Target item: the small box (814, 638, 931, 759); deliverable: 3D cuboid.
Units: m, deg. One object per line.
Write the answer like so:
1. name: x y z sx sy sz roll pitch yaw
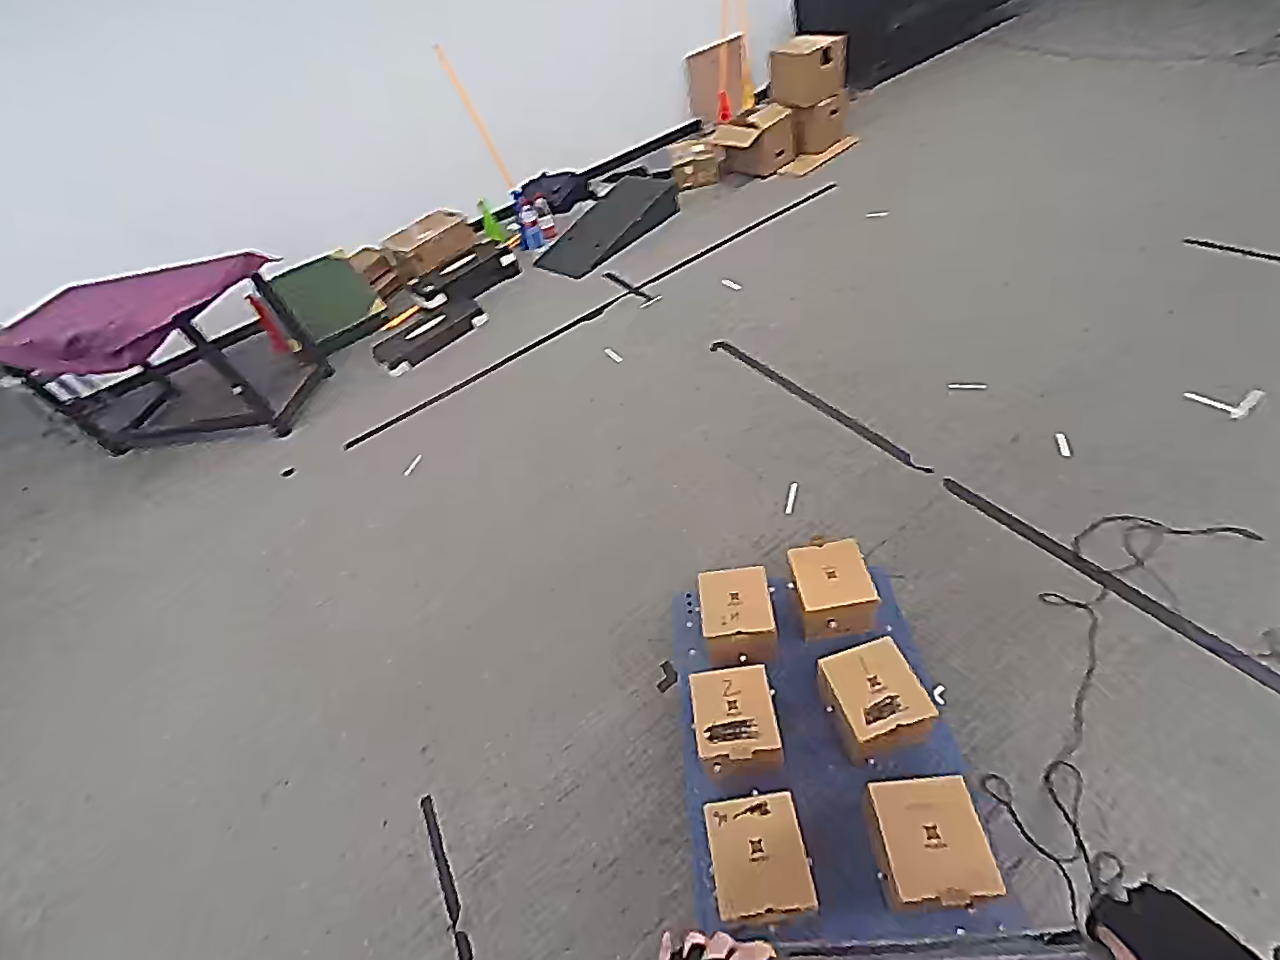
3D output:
1. small box: 0.488 0.476 1.159 0.168 0.176 0.179 -18 45 -1

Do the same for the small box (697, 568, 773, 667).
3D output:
1. small box: 0.235 0.344 1.350 0.168 0.176 0.179 -8 47 9

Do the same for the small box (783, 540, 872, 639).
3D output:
1. small box: 0.462 0.281 1.348 0.168 0.176 0.179 -12 46 5

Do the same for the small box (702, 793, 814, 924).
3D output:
1. small box: 0.220 0.713 1.014 0.168 0.176 0.179 -12 47 4

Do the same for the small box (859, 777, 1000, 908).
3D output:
1. small box: 0.511 0.662 0.982 0.168 0.176 0.179 -9 46 7
